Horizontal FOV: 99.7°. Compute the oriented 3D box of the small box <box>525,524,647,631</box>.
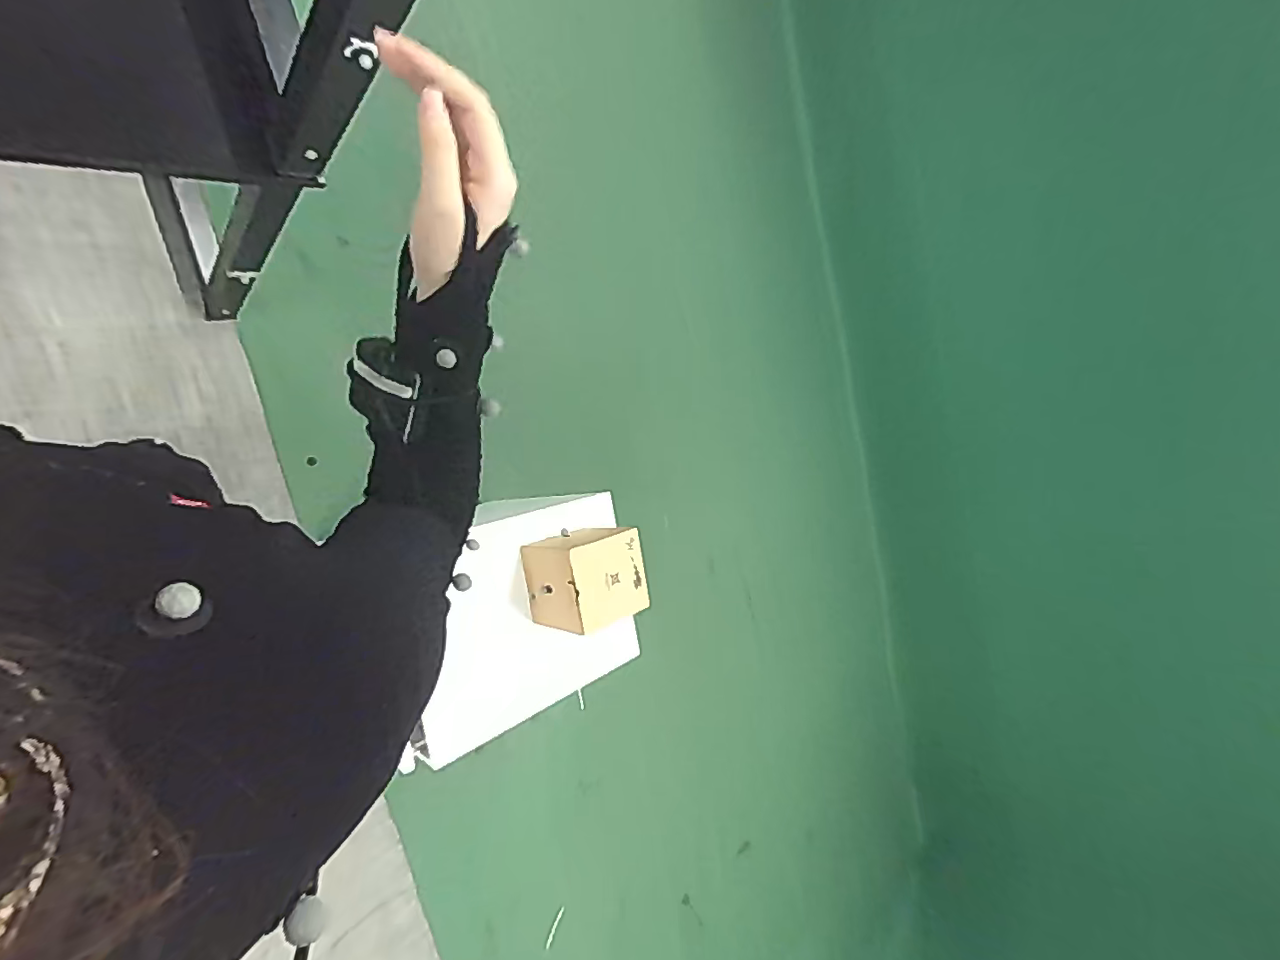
[{"bbox_3d":[-0.115,0.186,1.080,0.179,0.176,0.168,-13,97,-43],"label":"small box"}]
